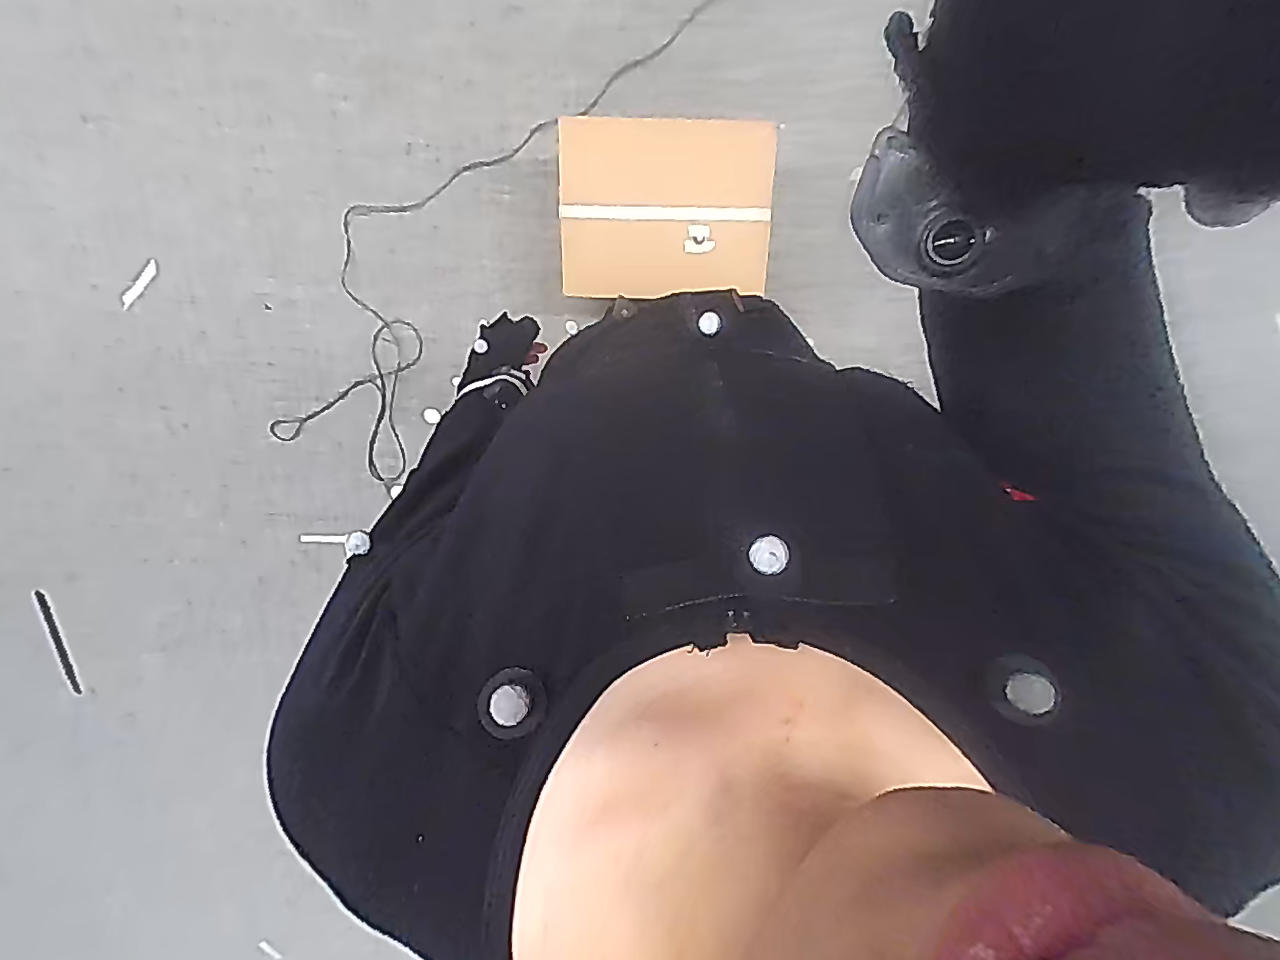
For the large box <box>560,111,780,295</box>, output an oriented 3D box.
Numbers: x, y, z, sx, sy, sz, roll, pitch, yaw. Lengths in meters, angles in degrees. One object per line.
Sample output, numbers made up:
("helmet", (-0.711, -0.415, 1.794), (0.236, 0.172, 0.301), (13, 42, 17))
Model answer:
("large box", (0.052, -0.563, 1.161), (0.408, 0.320, 0.320), (1, 110, -1))
